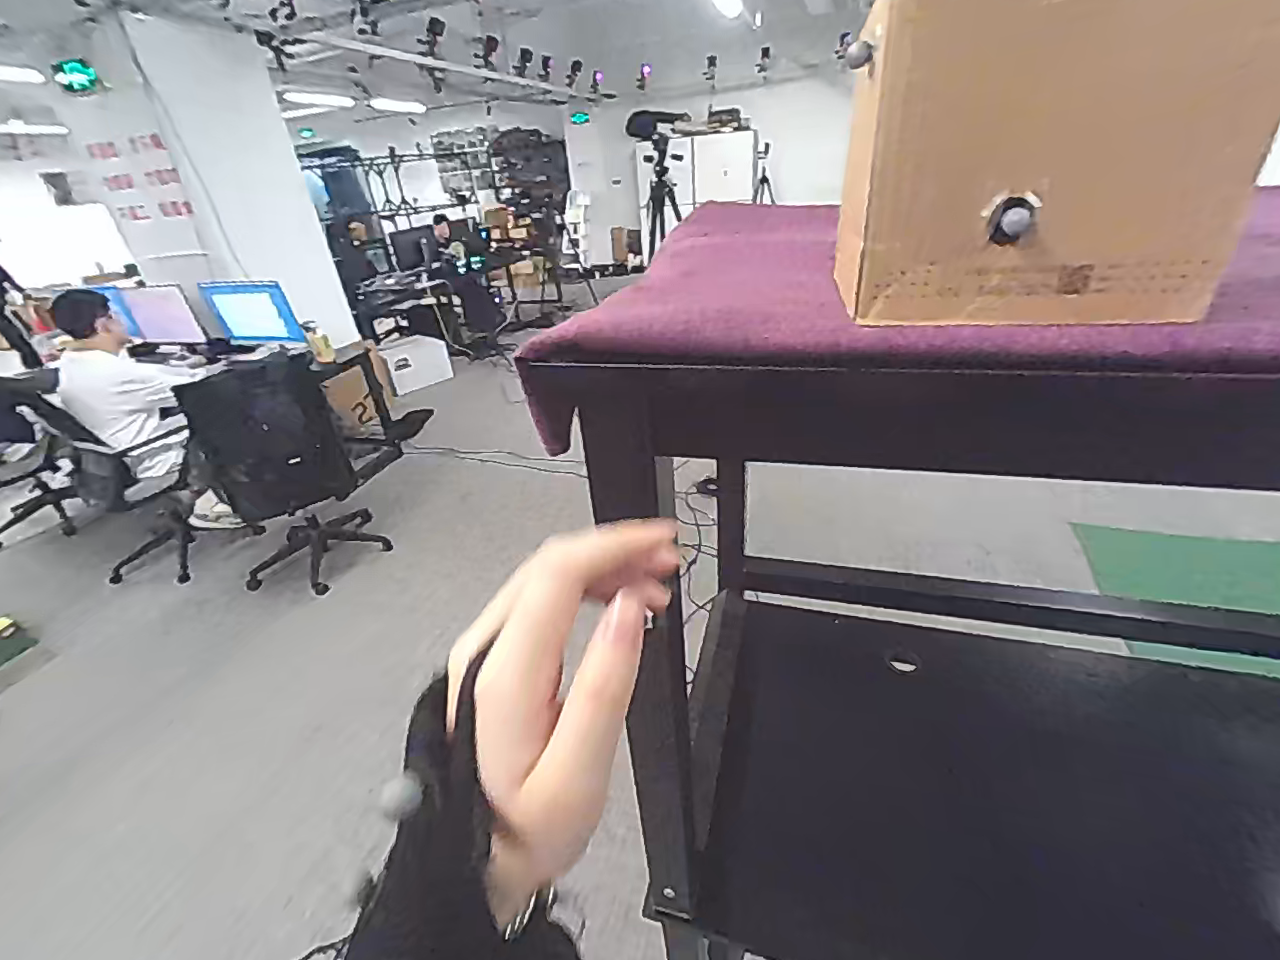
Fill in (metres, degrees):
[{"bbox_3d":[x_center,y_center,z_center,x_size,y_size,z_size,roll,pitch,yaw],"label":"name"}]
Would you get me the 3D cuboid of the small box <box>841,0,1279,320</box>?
[{"bbox_3d":[0.219,-0.201,0.325,0.168,0.176,0.179,4,30,14],"label":"small box"}]
